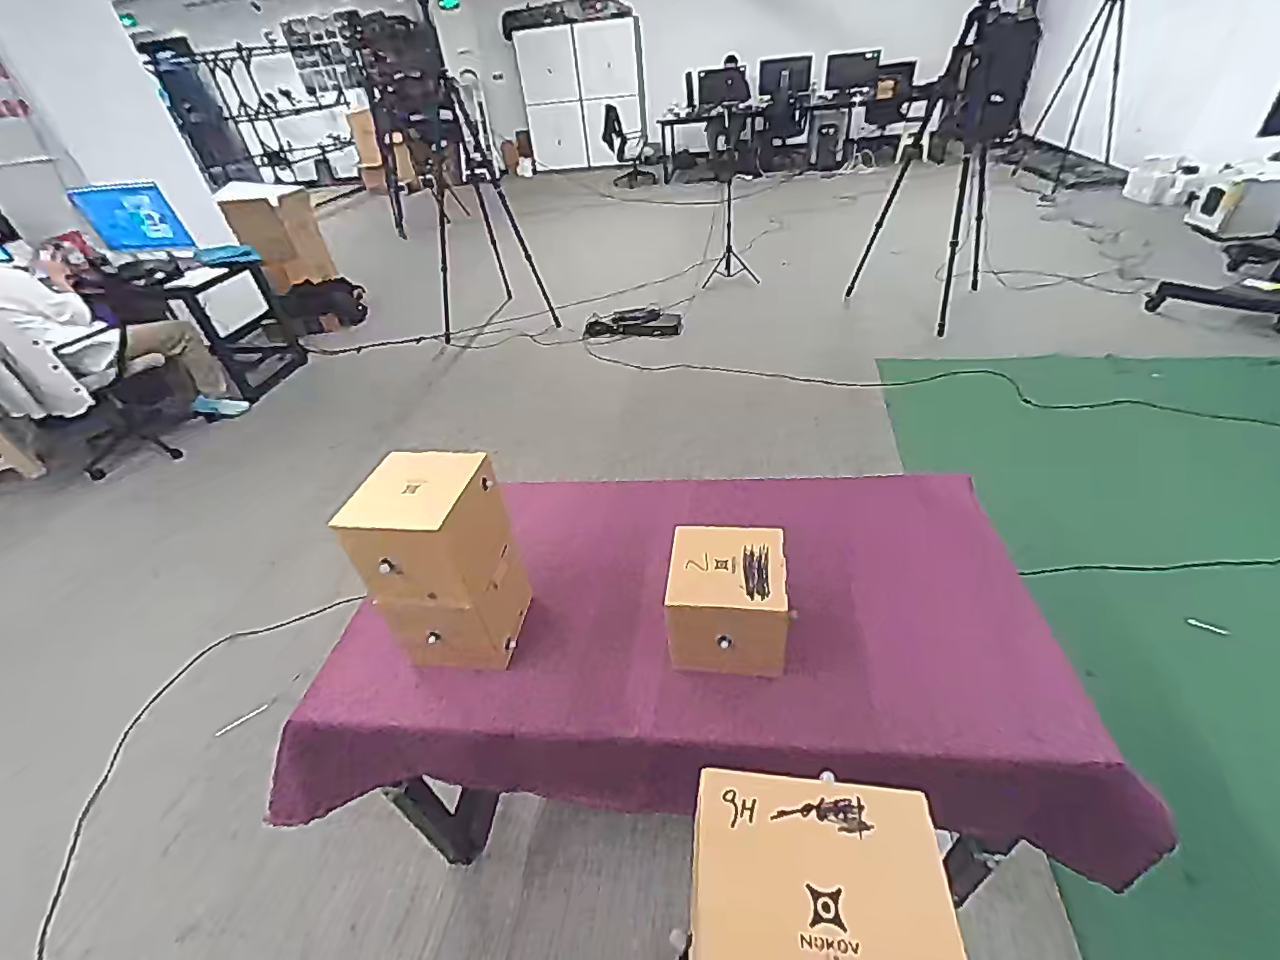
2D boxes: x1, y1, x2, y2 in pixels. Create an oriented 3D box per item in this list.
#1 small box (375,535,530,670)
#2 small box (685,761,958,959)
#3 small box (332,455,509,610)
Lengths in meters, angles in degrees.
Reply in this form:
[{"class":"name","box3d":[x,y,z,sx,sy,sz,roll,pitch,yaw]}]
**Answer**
[{"class":"small box","box3d":[-0.304,0.208,0.925,0.179,0.176,0.168,0,38,9]},{"class":"small box","box3d":[0.120,0.341,0.403,0.168,0.176,0.179,4,43,7]},{"class":"small box","box3d":[-0.317,0.079,0.827,0.168,0.176,0.179,1,38,10]}]
